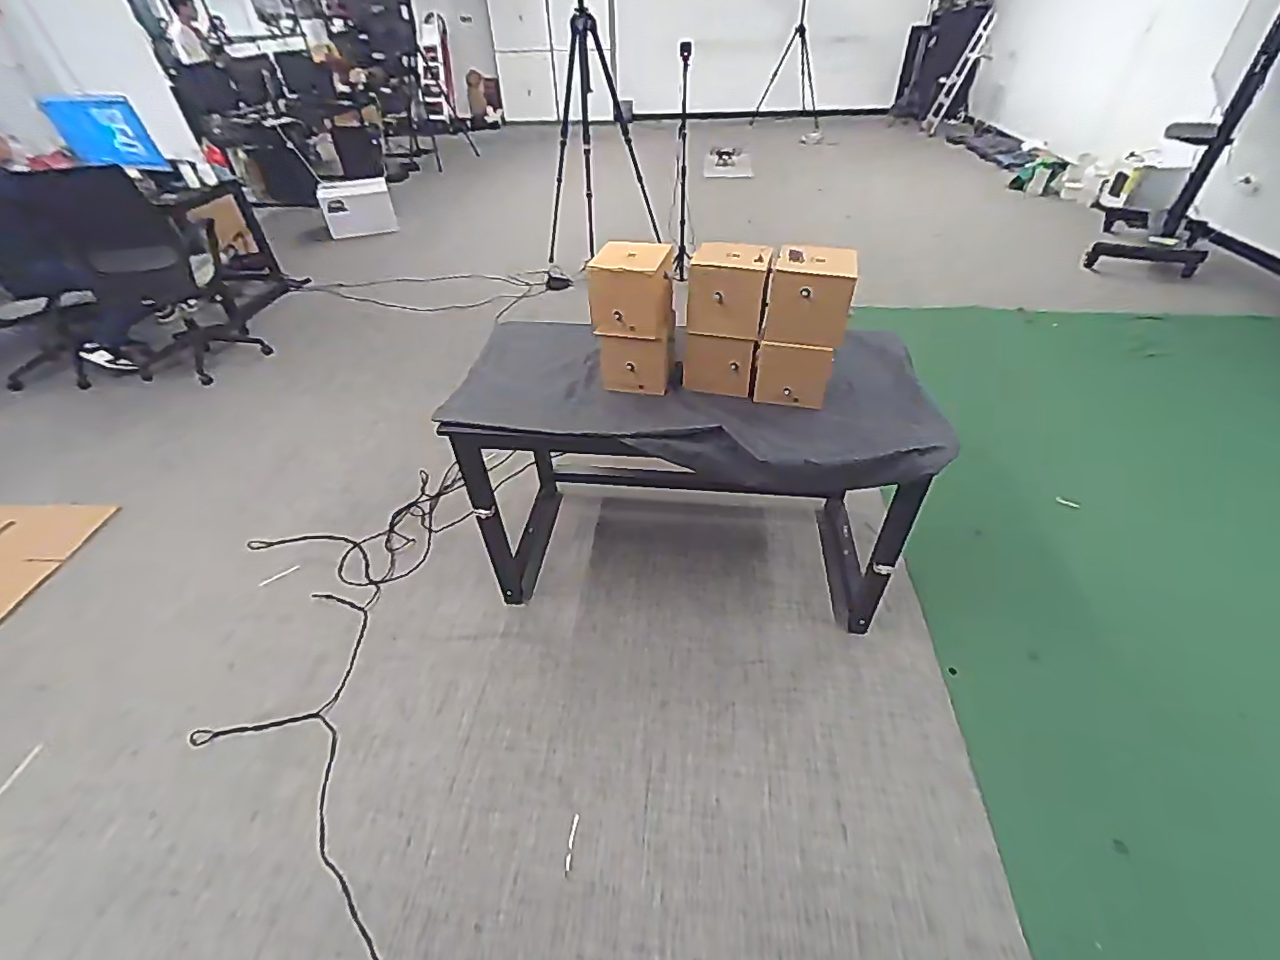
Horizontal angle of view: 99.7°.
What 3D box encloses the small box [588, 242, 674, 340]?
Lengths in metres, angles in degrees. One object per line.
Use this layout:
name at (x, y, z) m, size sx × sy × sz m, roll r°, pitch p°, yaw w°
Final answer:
small box at (-0.017, -0.466, 1.329) m, size 0.168 × 0.176 × 0.179 m, roll 9°, pitch 44°, yaw 13°
